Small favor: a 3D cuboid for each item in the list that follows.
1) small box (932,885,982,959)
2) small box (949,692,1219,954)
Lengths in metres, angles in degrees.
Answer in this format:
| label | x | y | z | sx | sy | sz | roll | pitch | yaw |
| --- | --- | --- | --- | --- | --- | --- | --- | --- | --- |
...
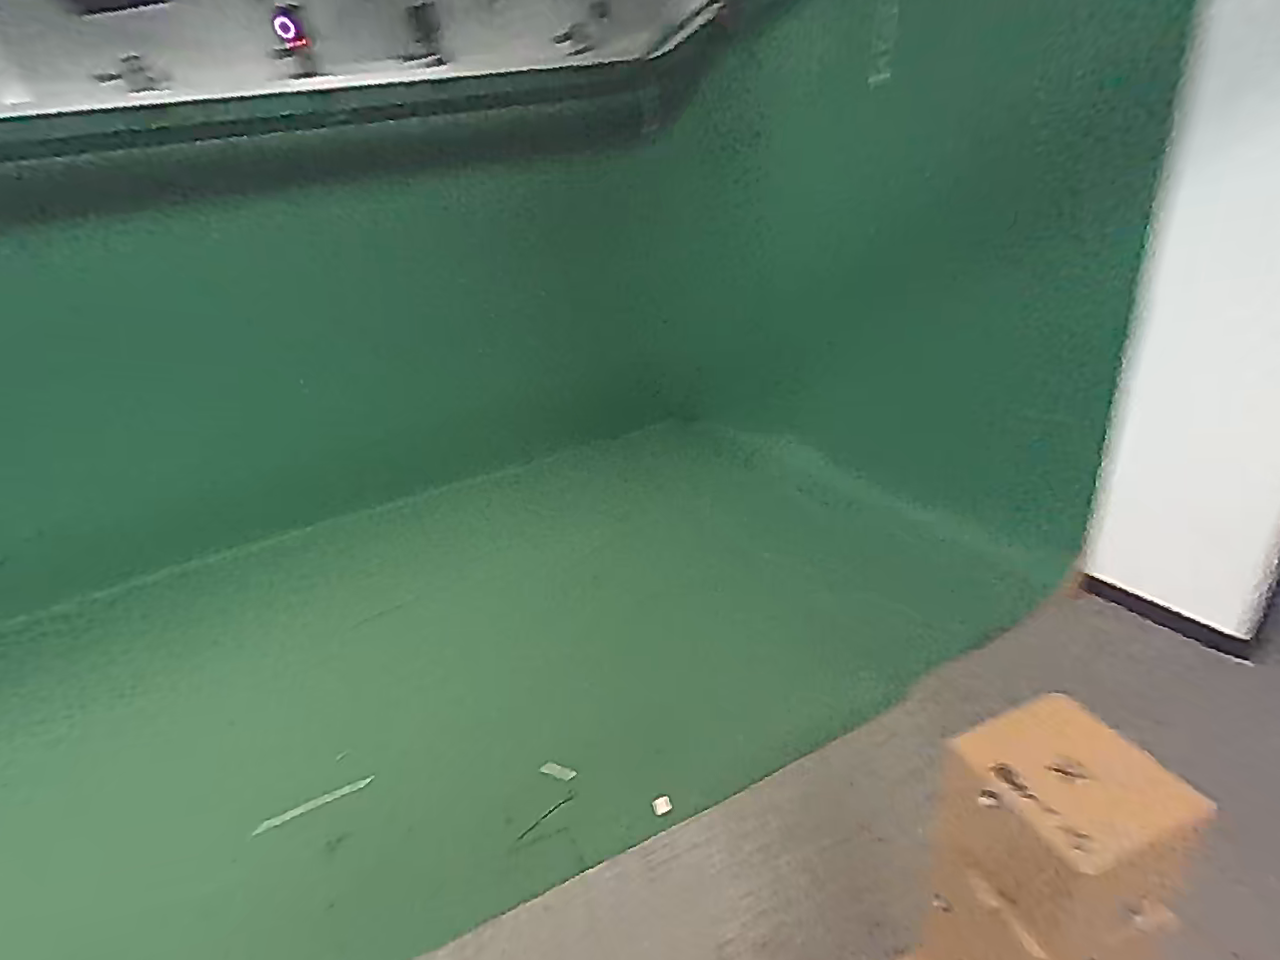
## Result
| label | x | y | z | sx | sy | sz | roll | pitch | yaw |
| --- | --- | --- | --- | --- | --- | --- | --- | --- | --- |
| small box | 0.542 | 0.690 | 0.765 | 0.168 | 0.176 | 0.179 | -14 | 26 | -6 |
| small box | 0.494 | 0.392 | 0.633 | 0.179 | 0.176 | 0.168 | -15 | 25 | -11 |
